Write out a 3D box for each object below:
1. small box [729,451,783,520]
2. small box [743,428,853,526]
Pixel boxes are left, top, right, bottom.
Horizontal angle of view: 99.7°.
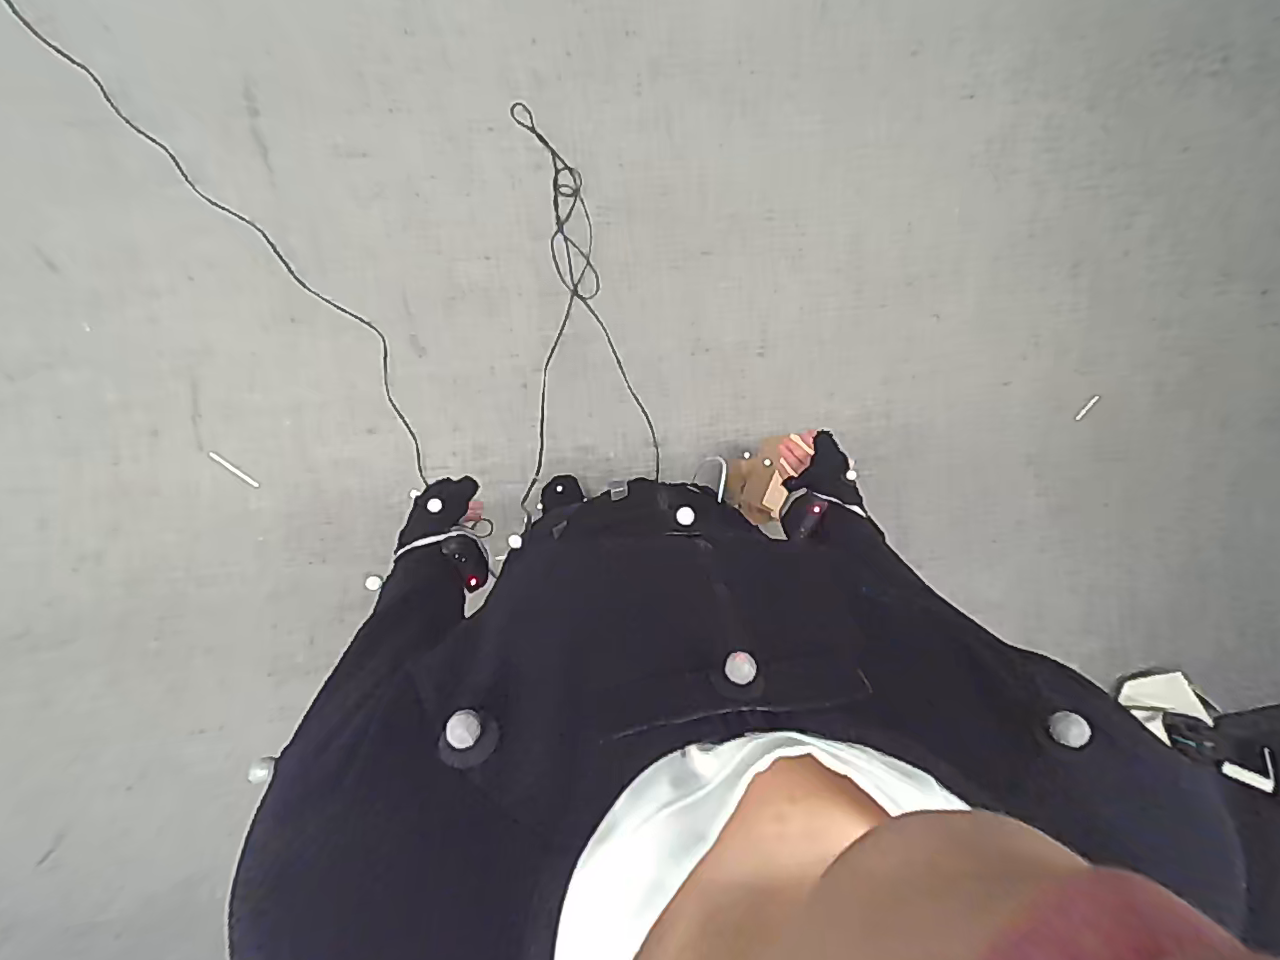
[{"bbox_3d":[0.343,0.004,1.430,0.179,0.176,0.168,-12,94,-7],"label":"small box"},{"bbox_3d":[0.365,-0.008,1.283,0.168,0.176,0.179,23,90,-7],"label":"small box"}]
